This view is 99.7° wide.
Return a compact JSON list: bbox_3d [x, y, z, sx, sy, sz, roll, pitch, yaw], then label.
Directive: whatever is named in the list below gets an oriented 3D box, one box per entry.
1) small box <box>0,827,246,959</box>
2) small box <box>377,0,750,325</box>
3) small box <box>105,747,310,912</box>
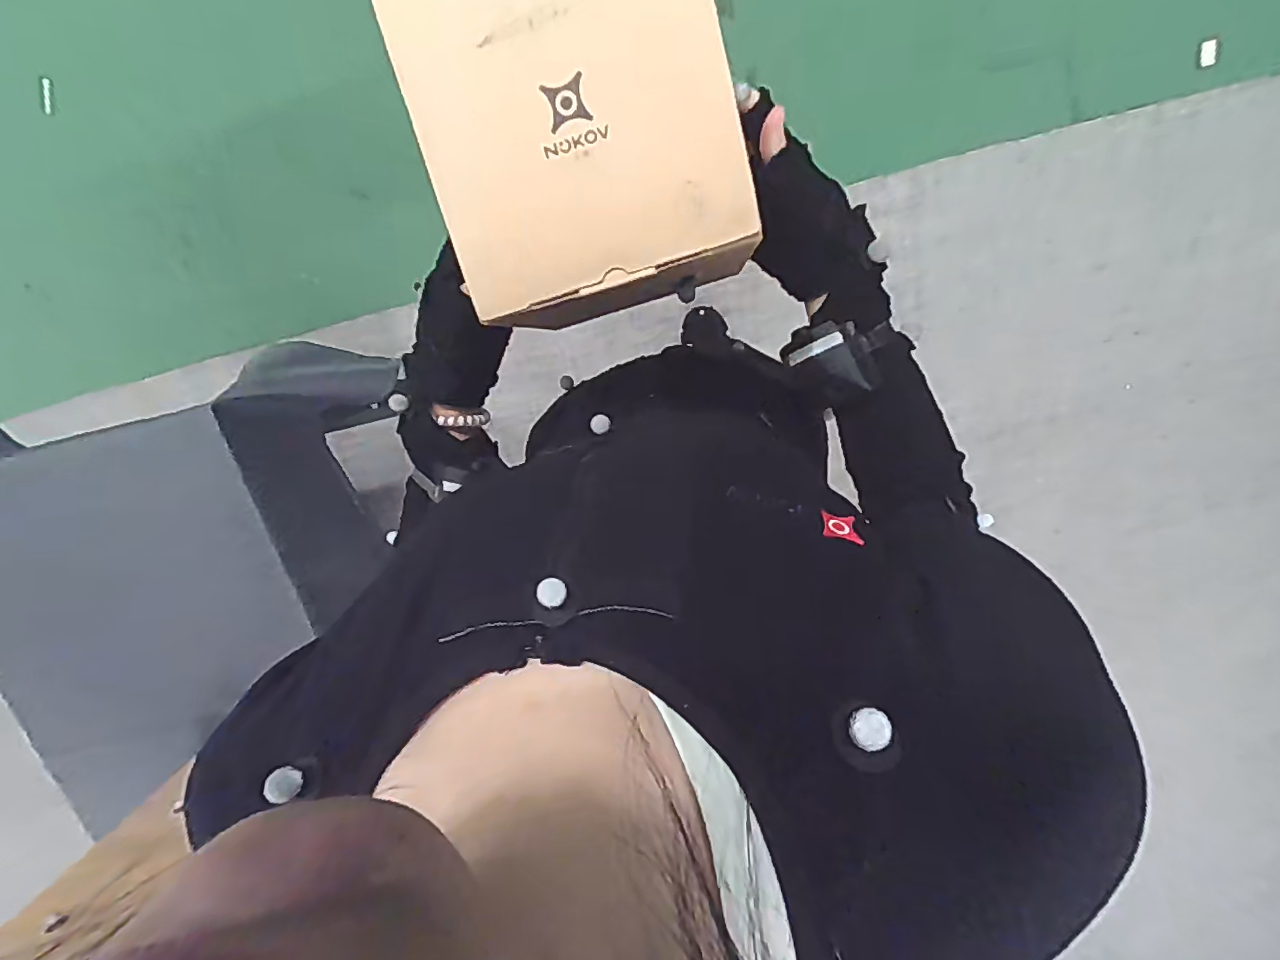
[{"bbox_3d":[-0.686,0.602,0.718,0.179,0.176,0.168,-12,104,7],"label":"small box"},{"bbox_3d":[-0.030,-0.212,0.364,0.168,0.176,0.179,-14,103,9],"label":"small box"},{"bbox_3d":[-0.674,0.561,0.874,0.179,0.176,0.168,-12,104,8],"label":"small box"}]
